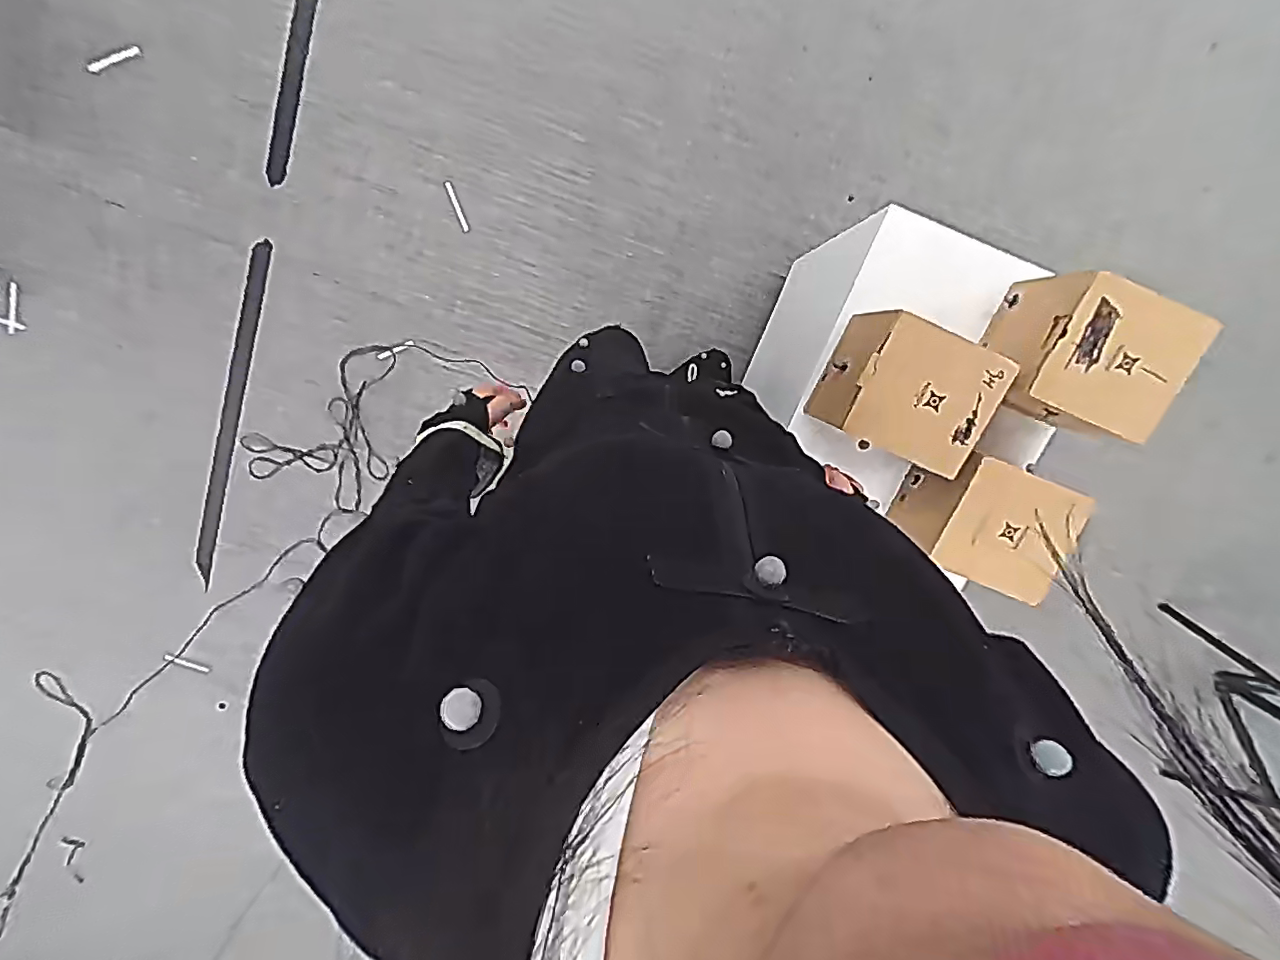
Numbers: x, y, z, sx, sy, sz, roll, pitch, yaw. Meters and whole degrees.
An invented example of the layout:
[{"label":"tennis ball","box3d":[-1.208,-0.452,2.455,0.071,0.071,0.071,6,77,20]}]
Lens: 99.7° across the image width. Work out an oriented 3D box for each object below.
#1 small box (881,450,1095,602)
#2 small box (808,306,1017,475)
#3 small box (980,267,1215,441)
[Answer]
[{"label":"small box","box3d":[0.503,0.052,0.813,0.179,0.176,0.168,21,102,-2]},{"label":"small box","box3d":[0.367,-0.128,0.769,0.179,0.176,0.168,23,103,-5]},{"label":"small box","box3d":[0.598,-0.172,0.753,0.179,0.176,0.168,22,104,-5]}]
